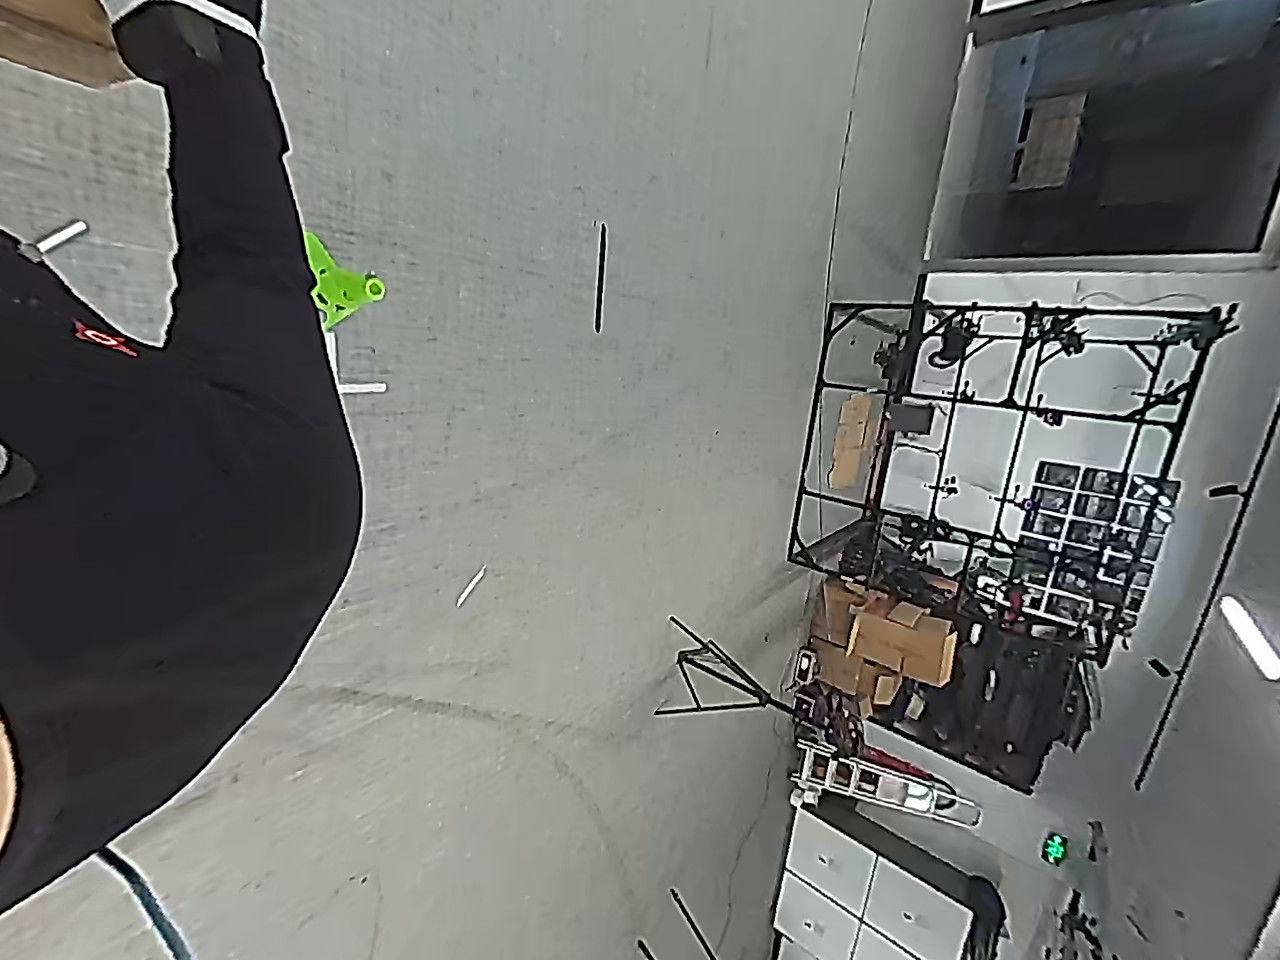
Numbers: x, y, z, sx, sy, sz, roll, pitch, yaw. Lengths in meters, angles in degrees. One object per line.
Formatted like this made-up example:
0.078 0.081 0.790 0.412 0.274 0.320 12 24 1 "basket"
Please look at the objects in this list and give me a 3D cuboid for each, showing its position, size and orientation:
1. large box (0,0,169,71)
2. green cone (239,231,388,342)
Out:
-0.548 -0.486 0.278 0.408 0.320 0.320 -9 119 -51 "large box"
-0.674 -0.425 1.197 0.202 0.368 0.200 -52 139 -30 "green cone"
